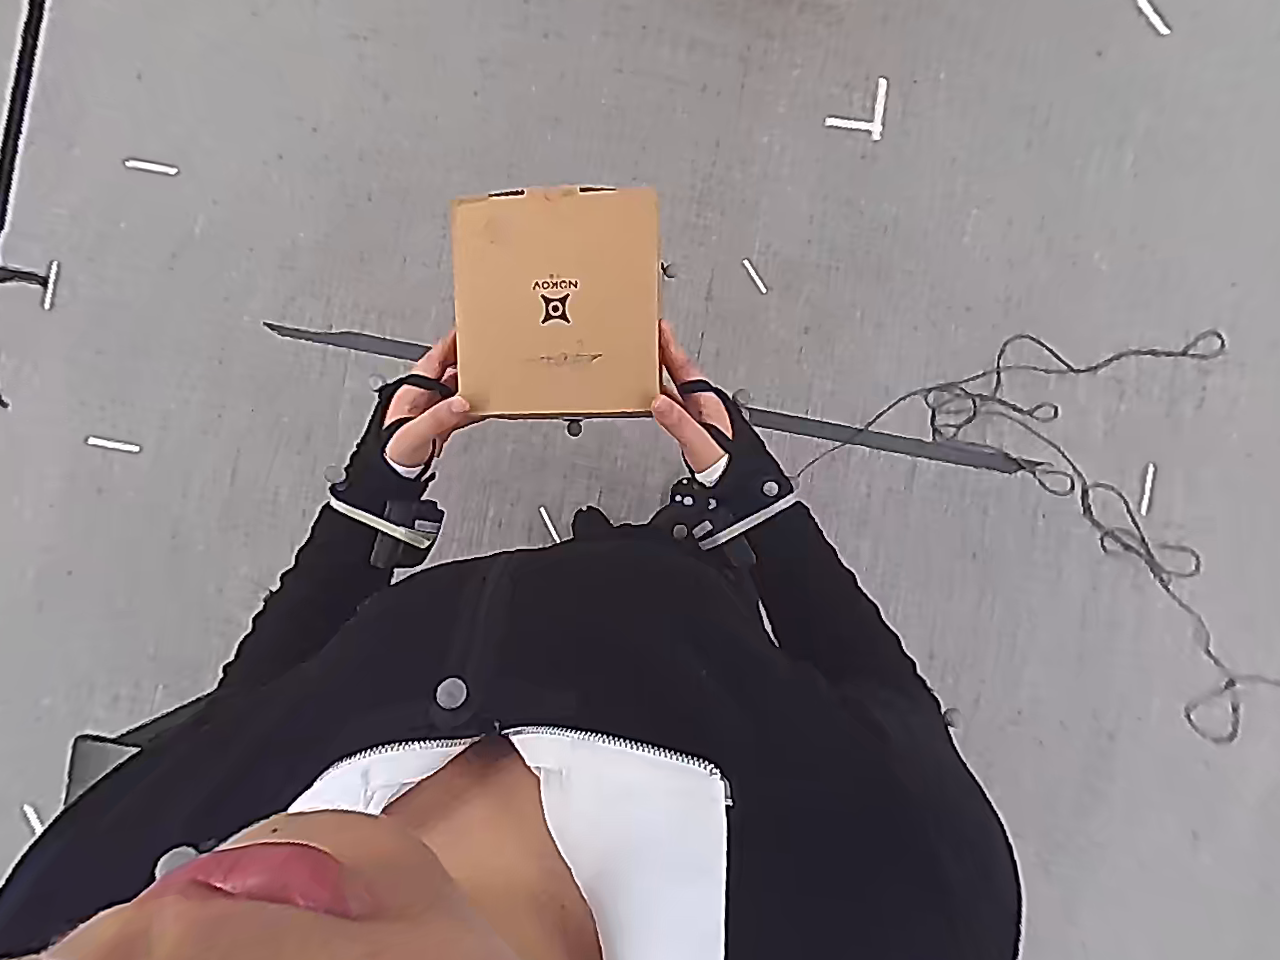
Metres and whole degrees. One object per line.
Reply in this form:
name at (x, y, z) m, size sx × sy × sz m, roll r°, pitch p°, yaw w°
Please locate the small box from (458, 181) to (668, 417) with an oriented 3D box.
small box at (-0.059, -0.151, 0.508) m, size 0.168 × 0.176 × 0.179 m, roll 0°, pitch 95°, yaw 4°
